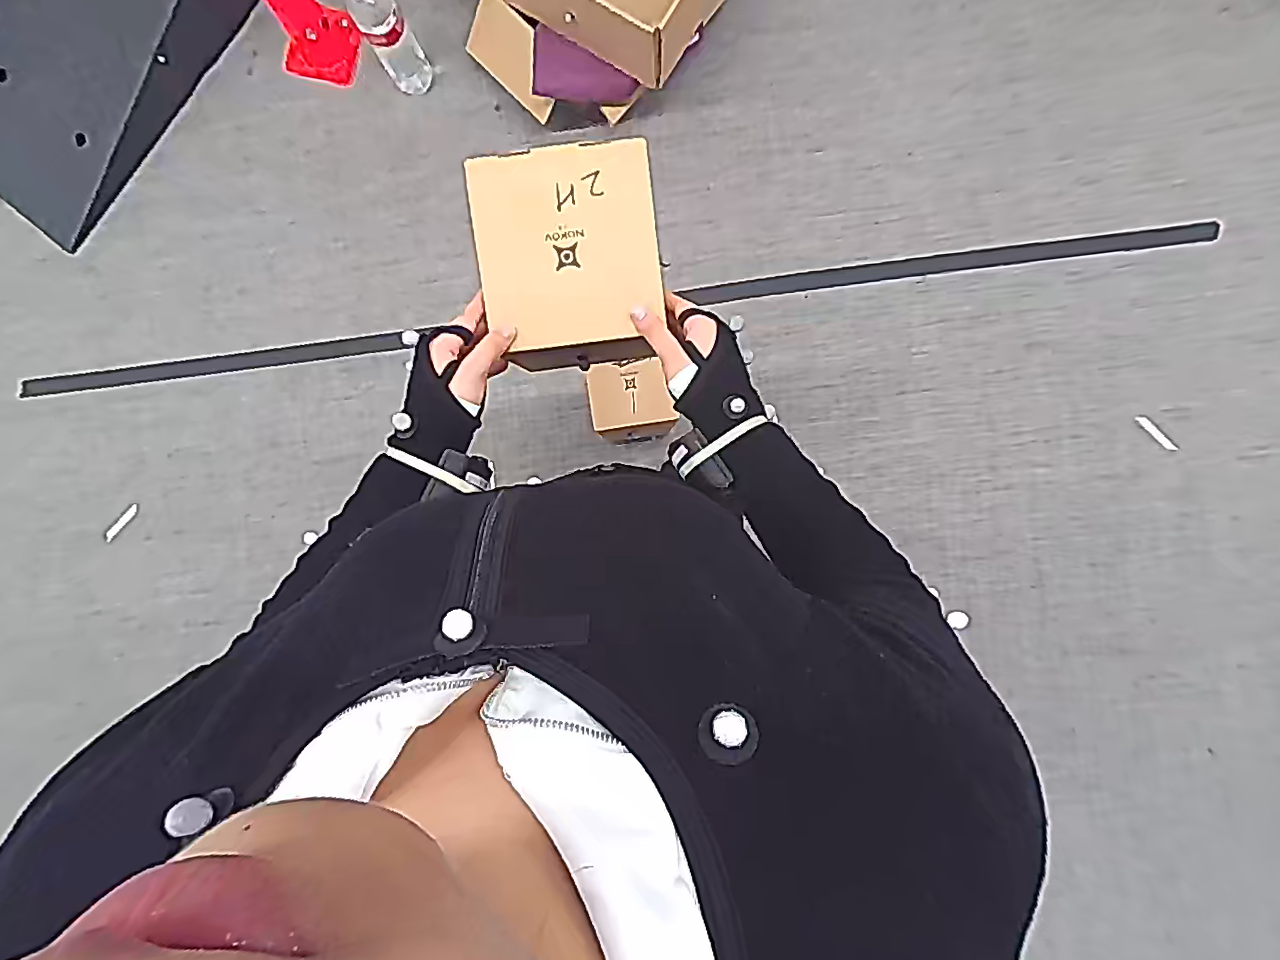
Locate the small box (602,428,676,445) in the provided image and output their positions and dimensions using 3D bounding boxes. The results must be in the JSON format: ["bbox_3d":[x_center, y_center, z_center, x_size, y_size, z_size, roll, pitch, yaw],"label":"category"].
[{"bbox_3d":[-0.011,-0.185,1.255,0.168,0.176,0.179,-8,89,2],"label":"small box"}]

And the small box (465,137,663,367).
[{"bbox_3d":[-0.066,-0.219,0.570,0.168,0.176,0.179,-7,95,1],"label":"small box"}]

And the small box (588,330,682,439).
[{"bbox_3d":[-0.011,-0.185,1.090,0.168,0.176,0.179,-8,91,2],"label":"small box"}]
